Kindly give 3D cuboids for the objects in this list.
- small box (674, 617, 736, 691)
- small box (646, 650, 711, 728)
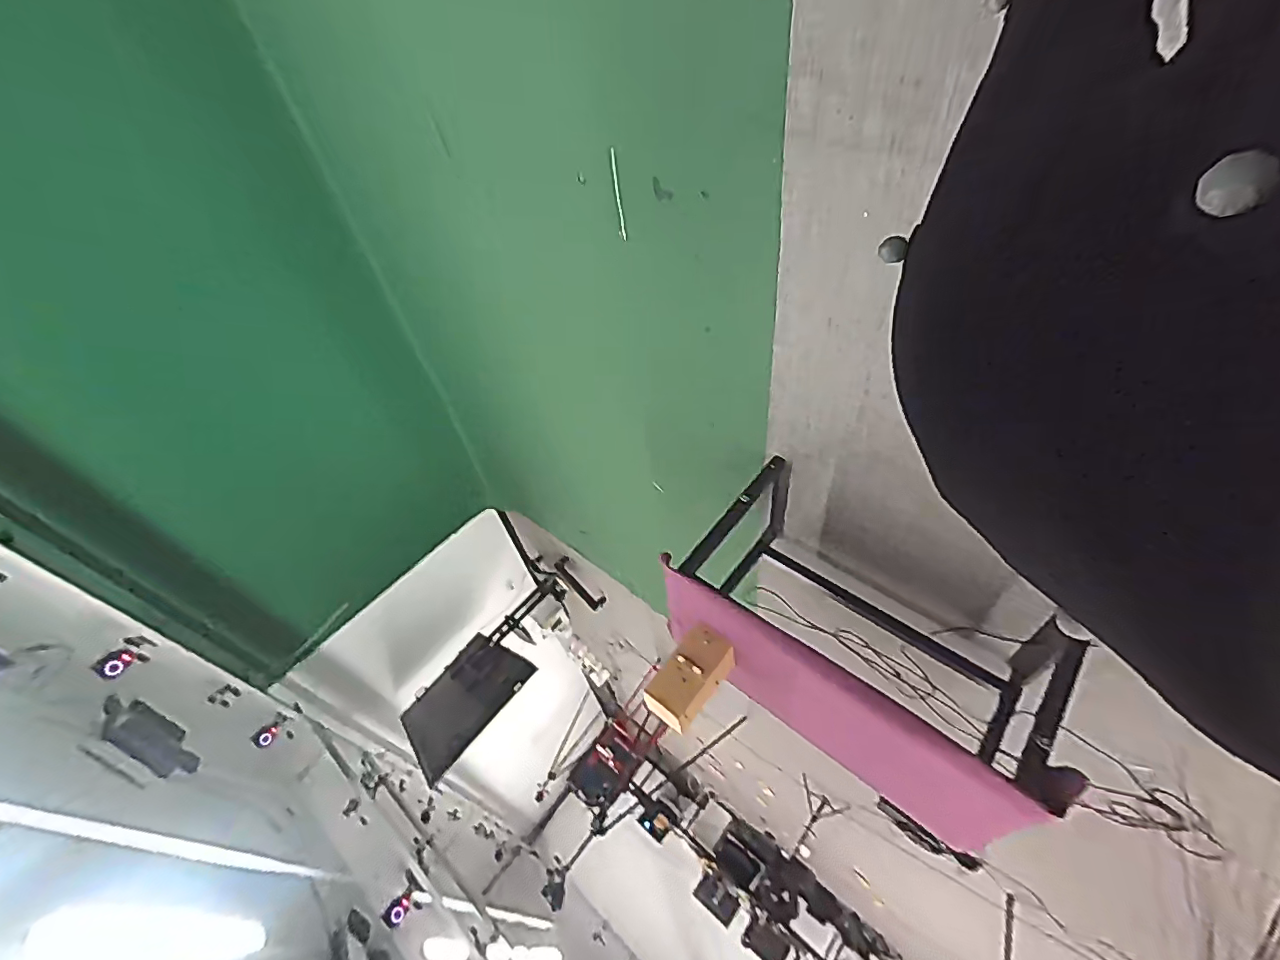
[{"bbox_3d":[0.249,0.651,2.029,0.168,0.176,0.179,27,149,30],"label":"small box"},{"bbox_3d":[0.145,0.757,1.961,0.168,0.176,0.179,28,148,31],"label":"small box"}]
